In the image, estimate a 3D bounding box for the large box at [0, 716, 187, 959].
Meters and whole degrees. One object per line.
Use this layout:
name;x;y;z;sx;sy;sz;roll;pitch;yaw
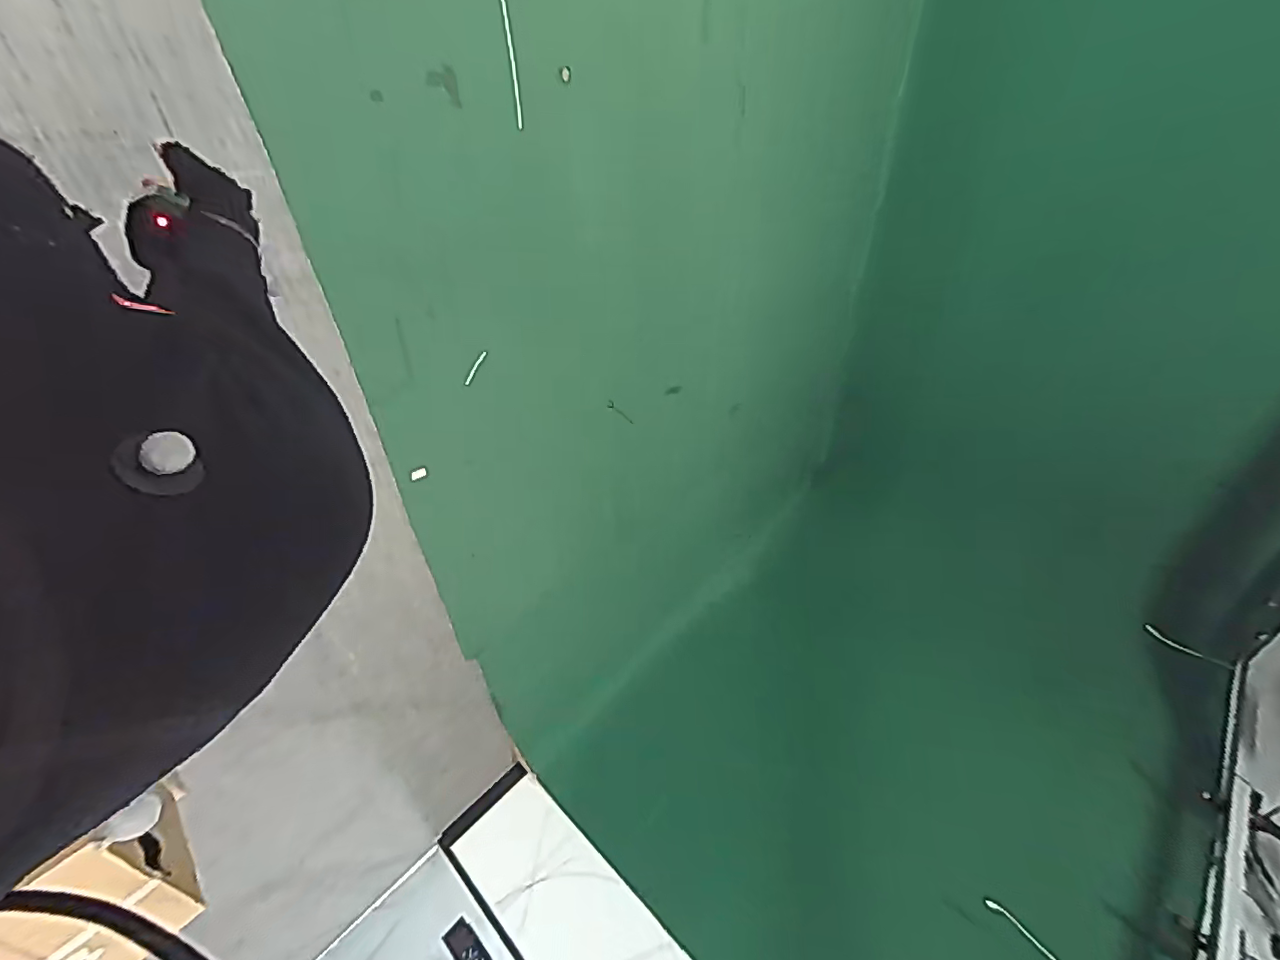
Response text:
large box;-1.088;0.697;0.886;0.408;0.320;0.320;-35;136;-34
